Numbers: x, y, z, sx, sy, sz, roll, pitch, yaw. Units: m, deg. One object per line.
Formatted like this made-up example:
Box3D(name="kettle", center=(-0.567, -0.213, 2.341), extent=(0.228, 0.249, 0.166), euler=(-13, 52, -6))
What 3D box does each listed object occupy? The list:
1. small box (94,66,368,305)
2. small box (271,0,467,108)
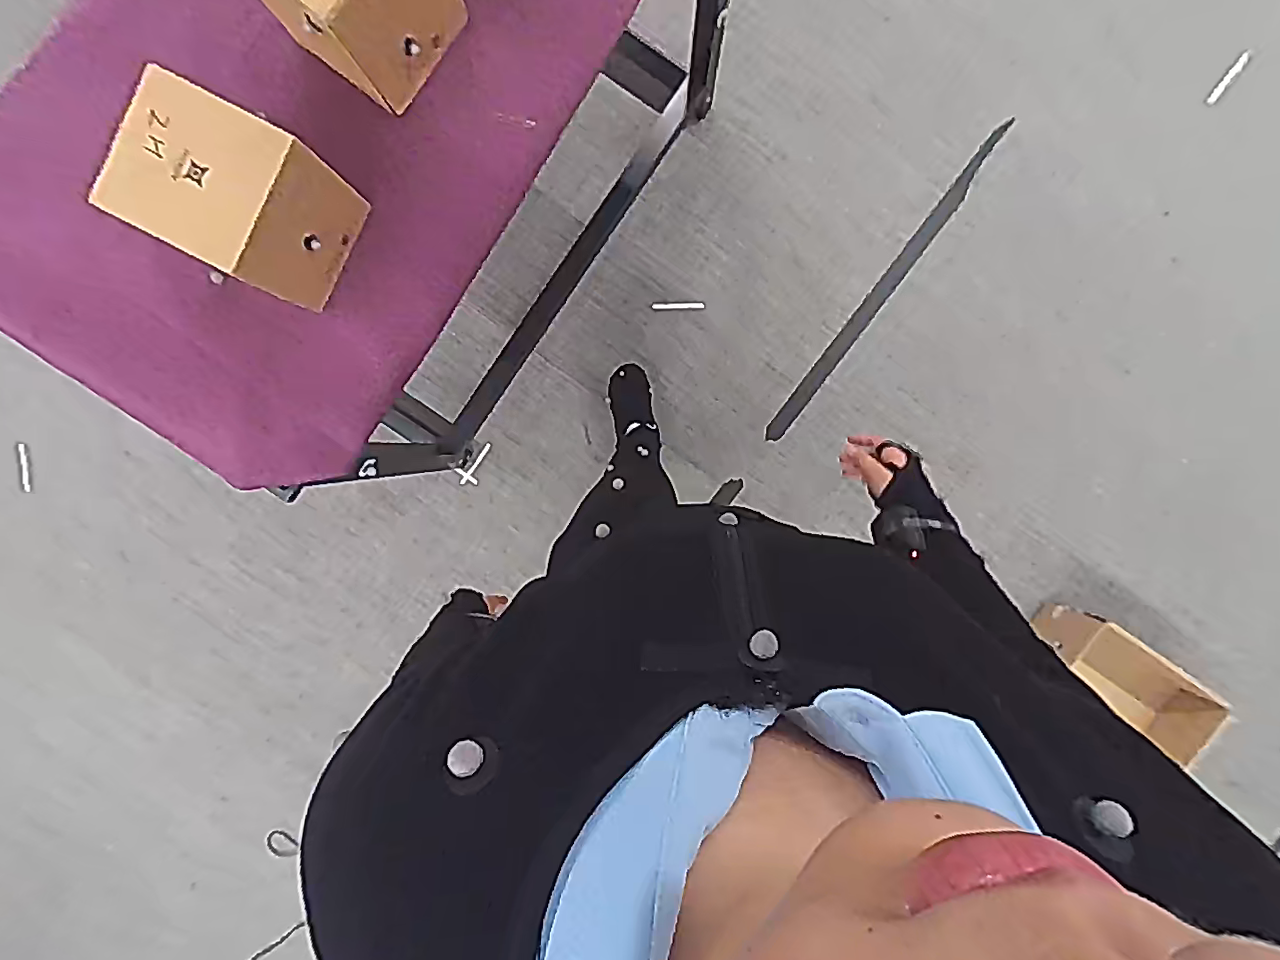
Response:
Box3D(name="small box", center=(-0.474, -0.335, 0.658), extent=(0.179, 0.176, 0.168), euler=(27, 92, 0))
Box3D(name="small box", center=(-0.343, -0.603, 0.646), extent=(0.179, 0.176, 0.168), euler=(37, 93, -1))
